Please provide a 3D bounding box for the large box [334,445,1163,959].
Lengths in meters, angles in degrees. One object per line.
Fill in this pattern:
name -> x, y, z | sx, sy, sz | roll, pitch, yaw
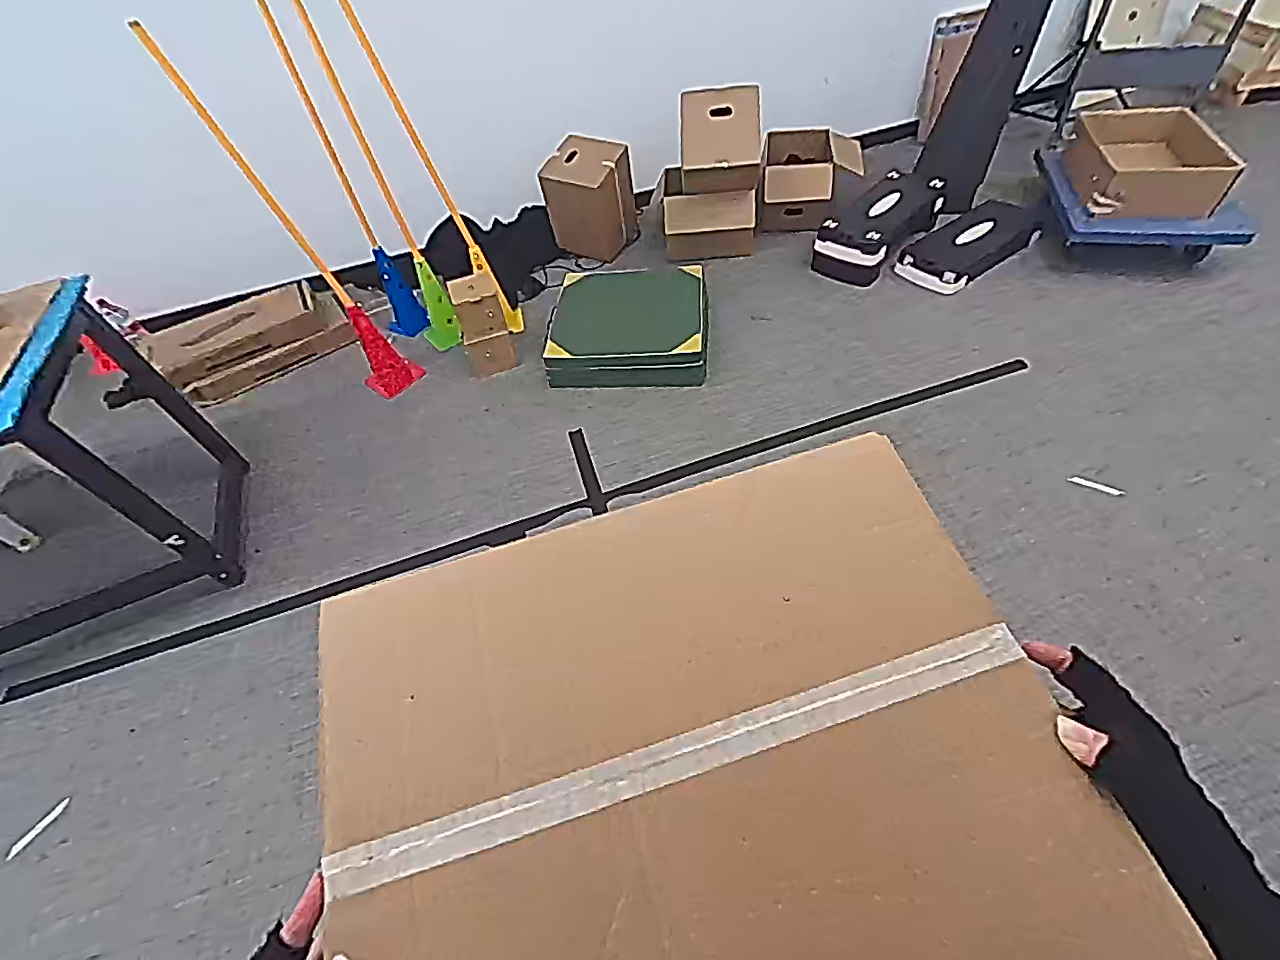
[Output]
large box -> 0.037, 0.227, 0.445 | 0.408, 0.320, 0.320 | -17, 61, -4
